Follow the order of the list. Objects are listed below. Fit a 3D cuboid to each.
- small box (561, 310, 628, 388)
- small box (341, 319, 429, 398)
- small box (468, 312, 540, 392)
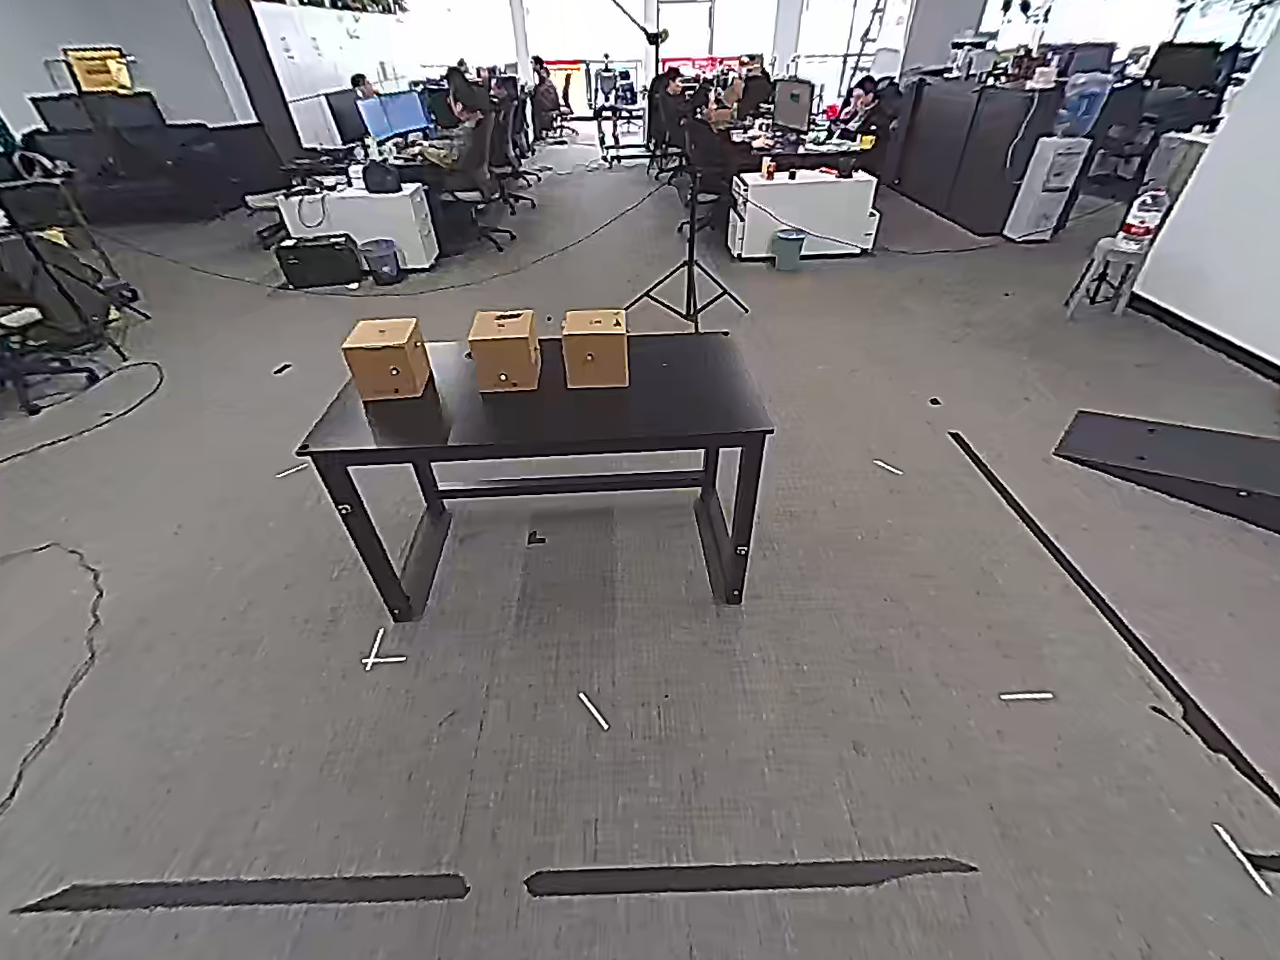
[{"bbox_3d":[-0.127,-0.378,1.571,0.179,0.176,0.168,-2,39,0],"label":"small box"},{"bbox_3d":[-0.718,-0.344,1.545,0.168,0.176,0.179,-4,39,-6],"label":"small box"},{"bbox_3d":[-0.387,-0.372,1.568,0.168,0.176,0.179,-4,40,-3],"label":"small box"}]
